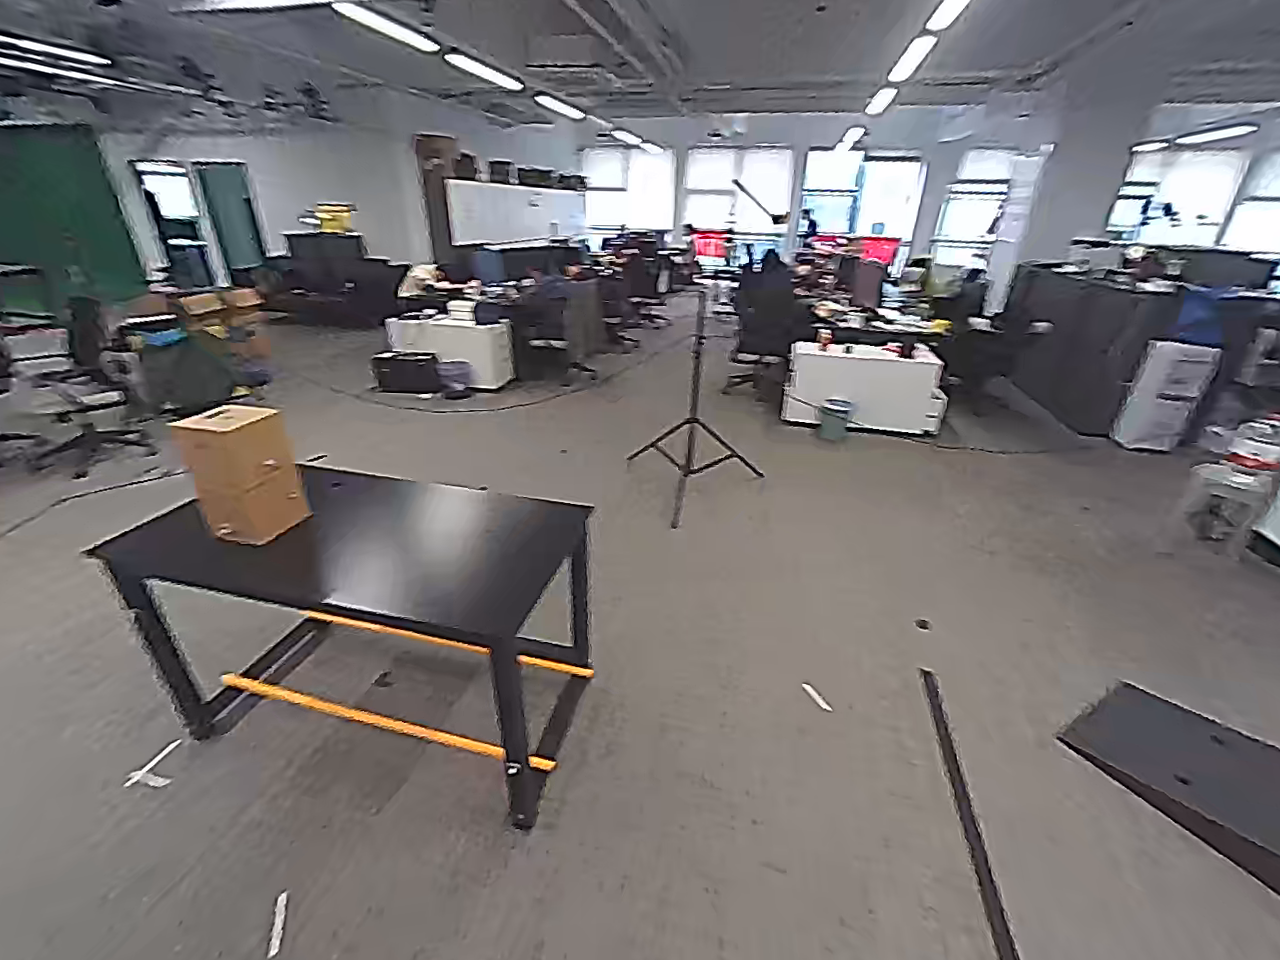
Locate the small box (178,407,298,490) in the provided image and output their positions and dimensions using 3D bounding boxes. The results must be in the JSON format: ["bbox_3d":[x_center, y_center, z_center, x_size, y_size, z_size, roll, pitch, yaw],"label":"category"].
[{"bbox_3d":[-1.062,-0.084,1.443,0.179,0.176,0.168,7,27,11],"label":"small box"}]

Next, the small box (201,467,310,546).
[{"bbox_3d":[-1.065,0.062,1.518,0.168,0.176,0.179,7,28,13],"label":"small box"}]
